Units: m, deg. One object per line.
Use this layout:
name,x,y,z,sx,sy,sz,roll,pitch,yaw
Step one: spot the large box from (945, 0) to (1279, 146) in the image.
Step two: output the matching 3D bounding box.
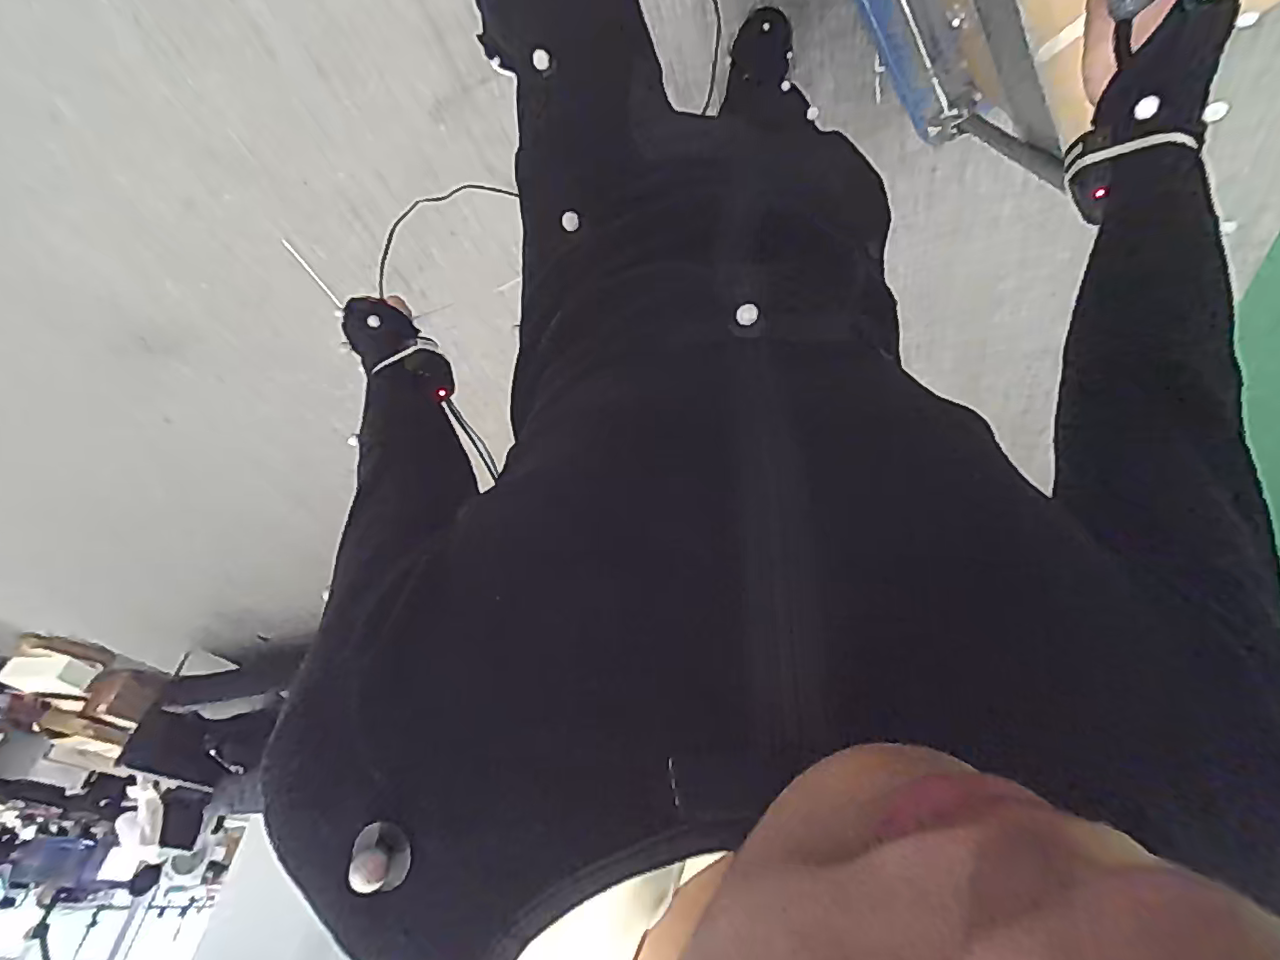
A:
large box,0.698,-0.789,0.758,0.408,0.320,0.320,-32,130,31
